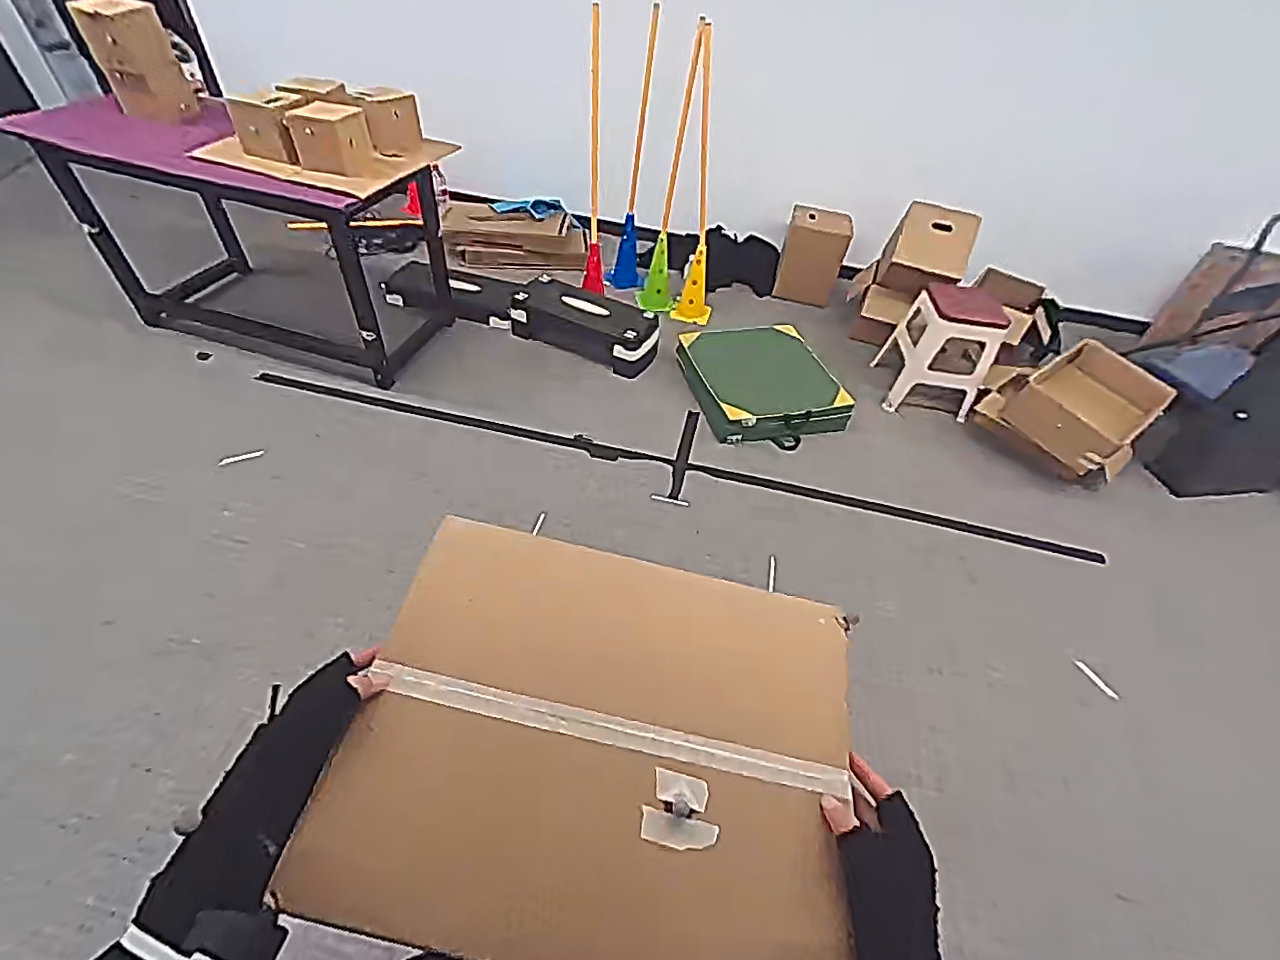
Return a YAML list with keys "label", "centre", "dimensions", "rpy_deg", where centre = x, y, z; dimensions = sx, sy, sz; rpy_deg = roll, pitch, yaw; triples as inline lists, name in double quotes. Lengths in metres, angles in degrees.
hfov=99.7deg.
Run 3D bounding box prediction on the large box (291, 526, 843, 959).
- label: "large box"
  centre: [-0.046, 0.290, 0.582]
  dimensions: [0.408, 0.320, 0.320]
  rpy_deg: [13, 56, 0]
